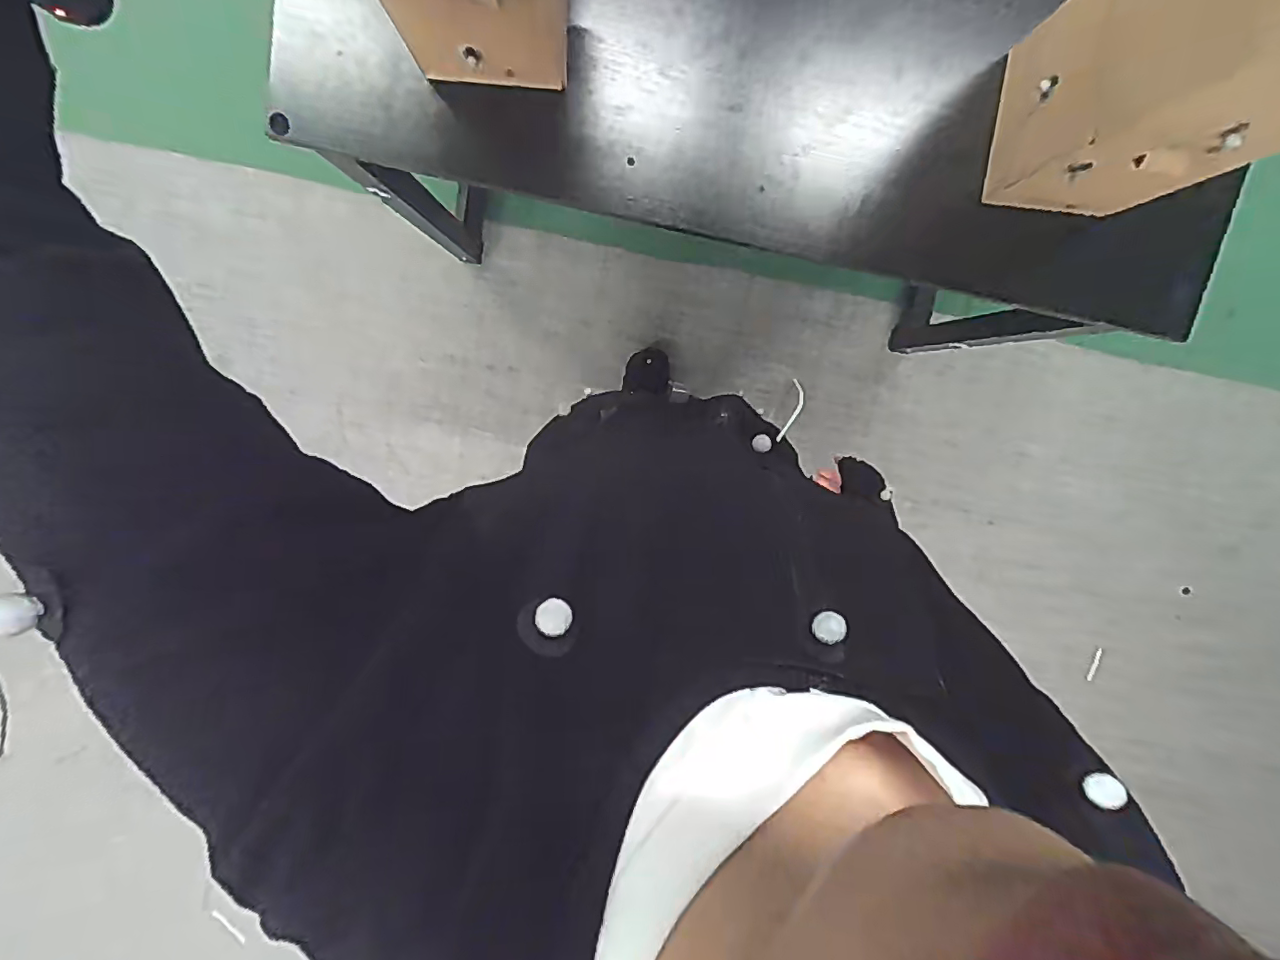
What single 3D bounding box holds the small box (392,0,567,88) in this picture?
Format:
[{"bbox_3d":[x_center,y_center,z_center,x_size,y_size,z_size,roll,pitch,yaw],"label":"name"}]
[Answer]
[{"bbox_3d":[-0.164,-0.544,0.549,0.168,0.176,0.179,2,101,-3],"label":"small box"}]
